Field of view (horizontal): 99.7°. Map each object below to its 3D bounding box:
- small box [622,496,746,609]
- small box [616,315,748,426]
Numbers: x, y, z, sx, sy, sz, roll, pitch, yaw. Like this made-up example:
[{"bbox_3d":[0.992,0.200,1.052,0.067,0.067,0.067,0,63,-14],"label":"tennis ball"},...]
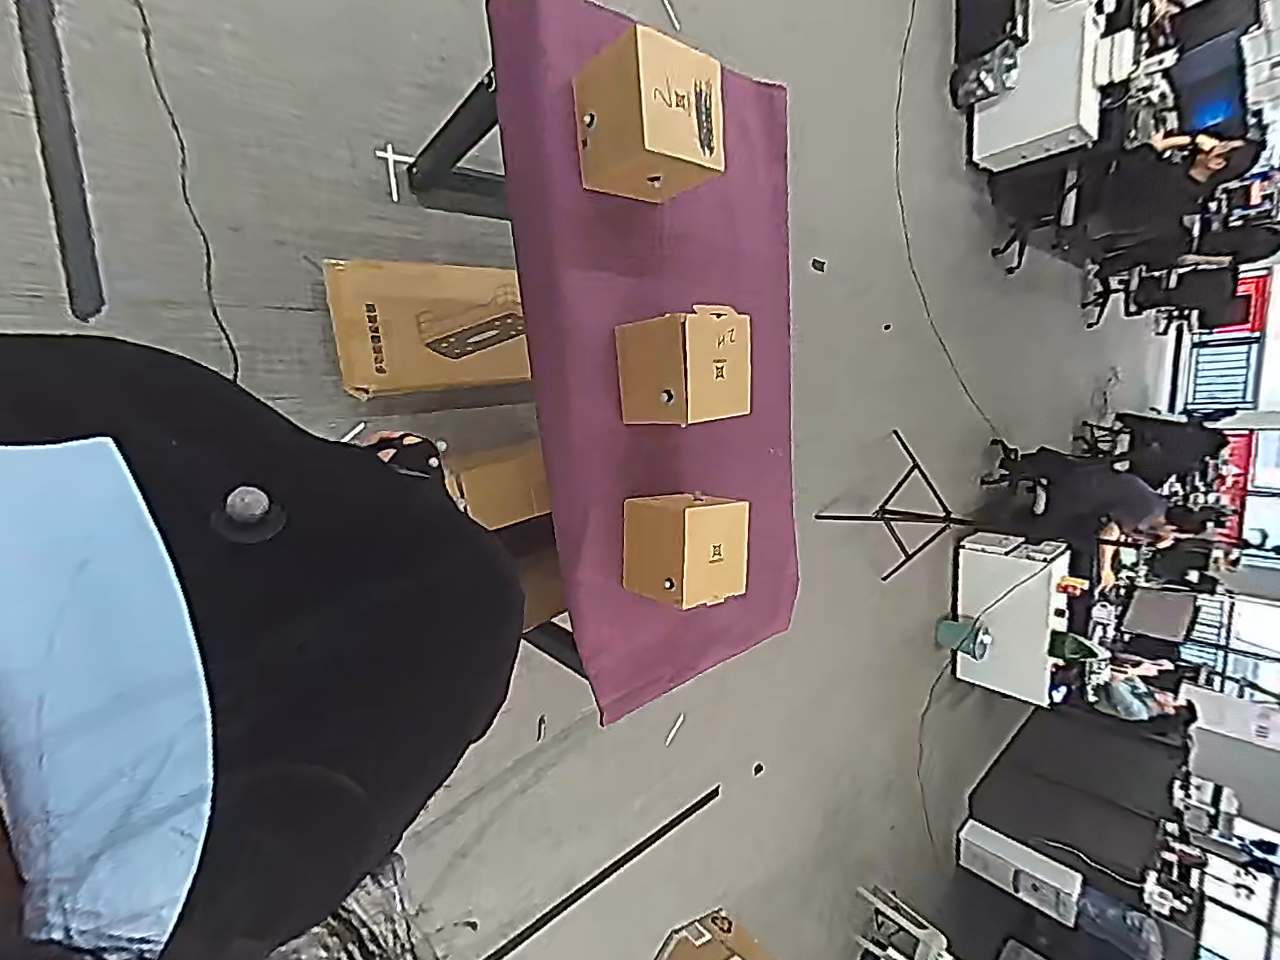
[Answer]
[{"bbox_3d":[0.080,0.123,1.010,0.168,0.176,0.179,-4,97,-40],"label":"small box"},{"bbox_3d":[0.074,-0.193,0.968,0.168,0.176,0.179,-14,103,-41],"label":"small box"}]
